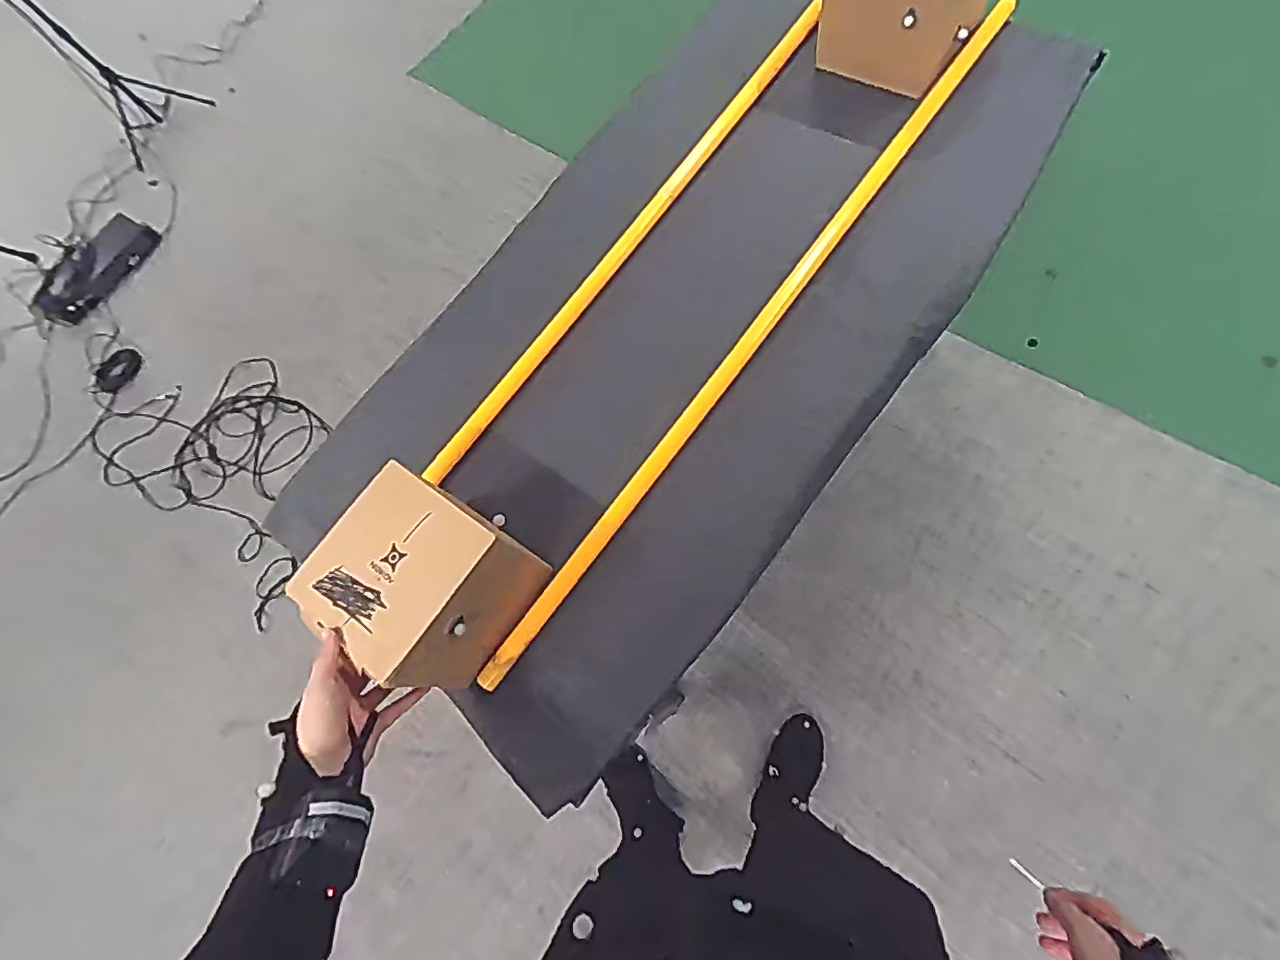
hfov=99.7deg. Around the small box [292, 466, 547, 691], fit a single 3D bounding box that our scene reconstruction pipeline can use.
[{"bbox_3d":[-0.235,0.119,0.621,0.168,0.176,0.179,31,78,20],"label":"small box"}]
